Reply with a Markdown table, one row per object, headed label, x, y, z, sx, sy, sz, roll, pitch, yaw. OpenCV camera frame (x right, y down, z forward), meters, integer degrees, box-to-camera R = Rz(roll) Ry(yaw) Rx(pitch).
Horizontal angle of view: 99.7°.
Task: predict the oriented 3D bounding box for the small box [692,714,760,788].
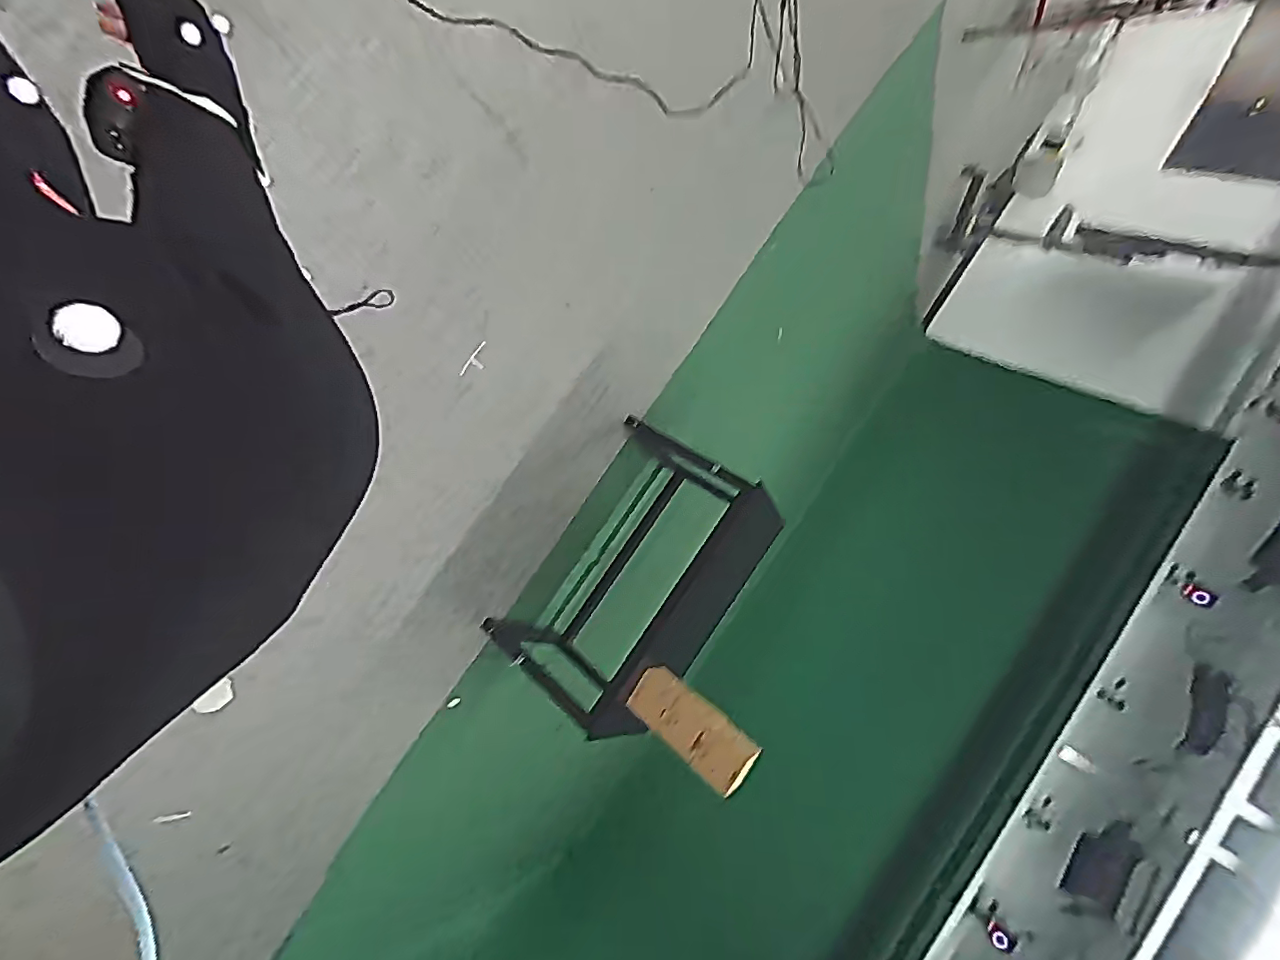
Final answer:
| label | x | y | z | sx | sy | sz | roll | pitch | yaw |
| --- | --- | --- | --- | --- | --- | --- | --- | --- | --- |
| small box | 0.323 | 1.017 | 2.045 | 0.168 | 0.176 | 0.179 | -59 | 151 | 3 |

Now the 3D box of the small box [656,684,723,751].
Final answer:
| label | x | y | z | sx | sy | sz | roll | pitch | yaw |
| --- | --- | --- | --- | --- | --- | --- | --- | --- | --- |
| small box | 0.195 | 0.927 | 2.134 | 0.168 | 0.176 | 0.179 | -60 | 150 | 3 |
